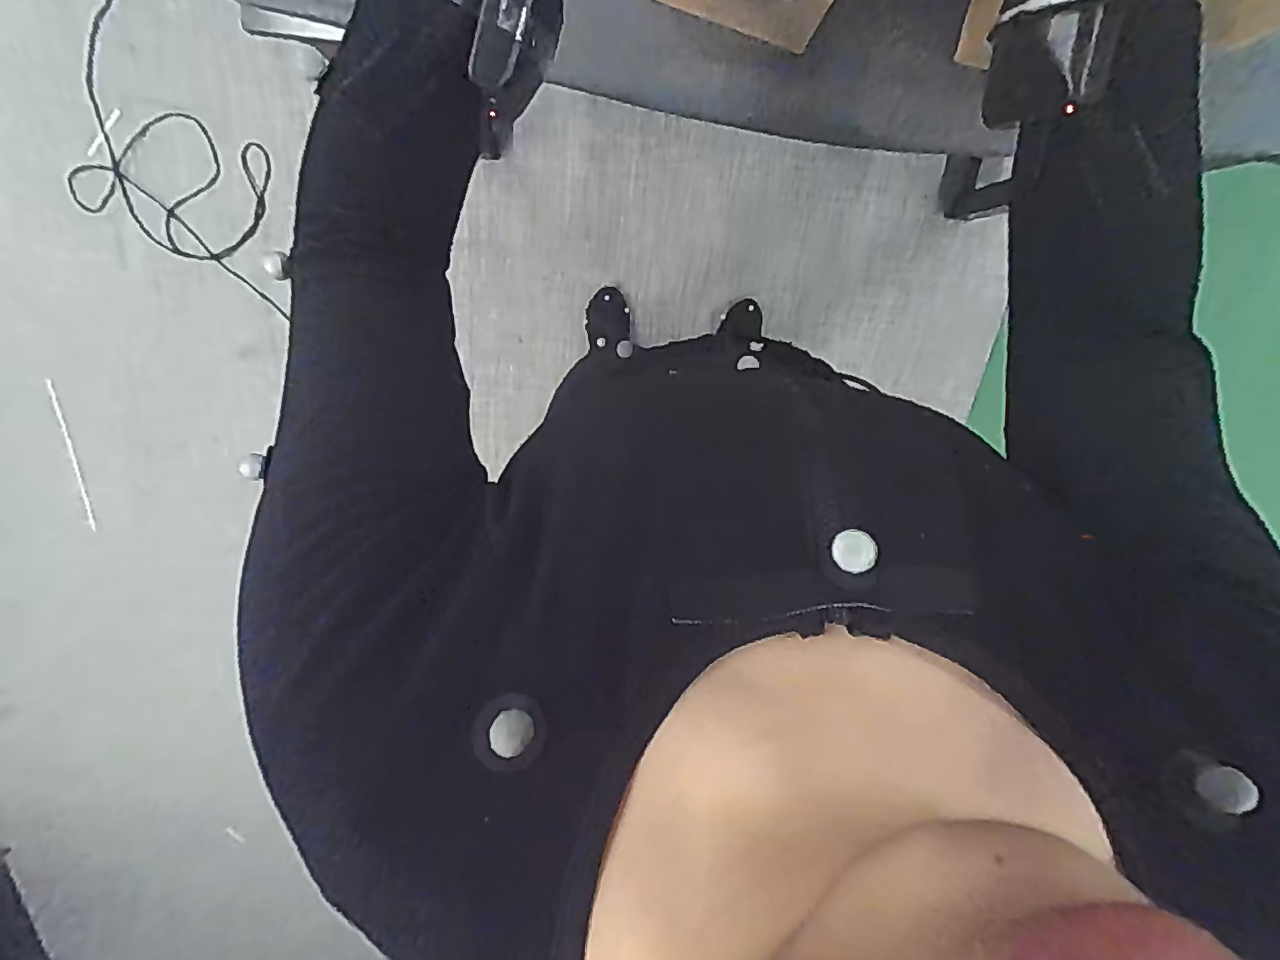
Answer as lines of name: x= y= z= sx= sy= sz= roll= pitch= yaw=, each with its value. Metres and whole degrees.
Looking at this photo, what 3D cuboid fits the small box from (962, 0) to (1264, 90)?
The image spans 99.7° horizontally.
small box: x=0.422 y=-0.483 z=0.474 sx=0.168 sy=0.176 sz=0.179 roll=9 pitch=110 yaw=1
